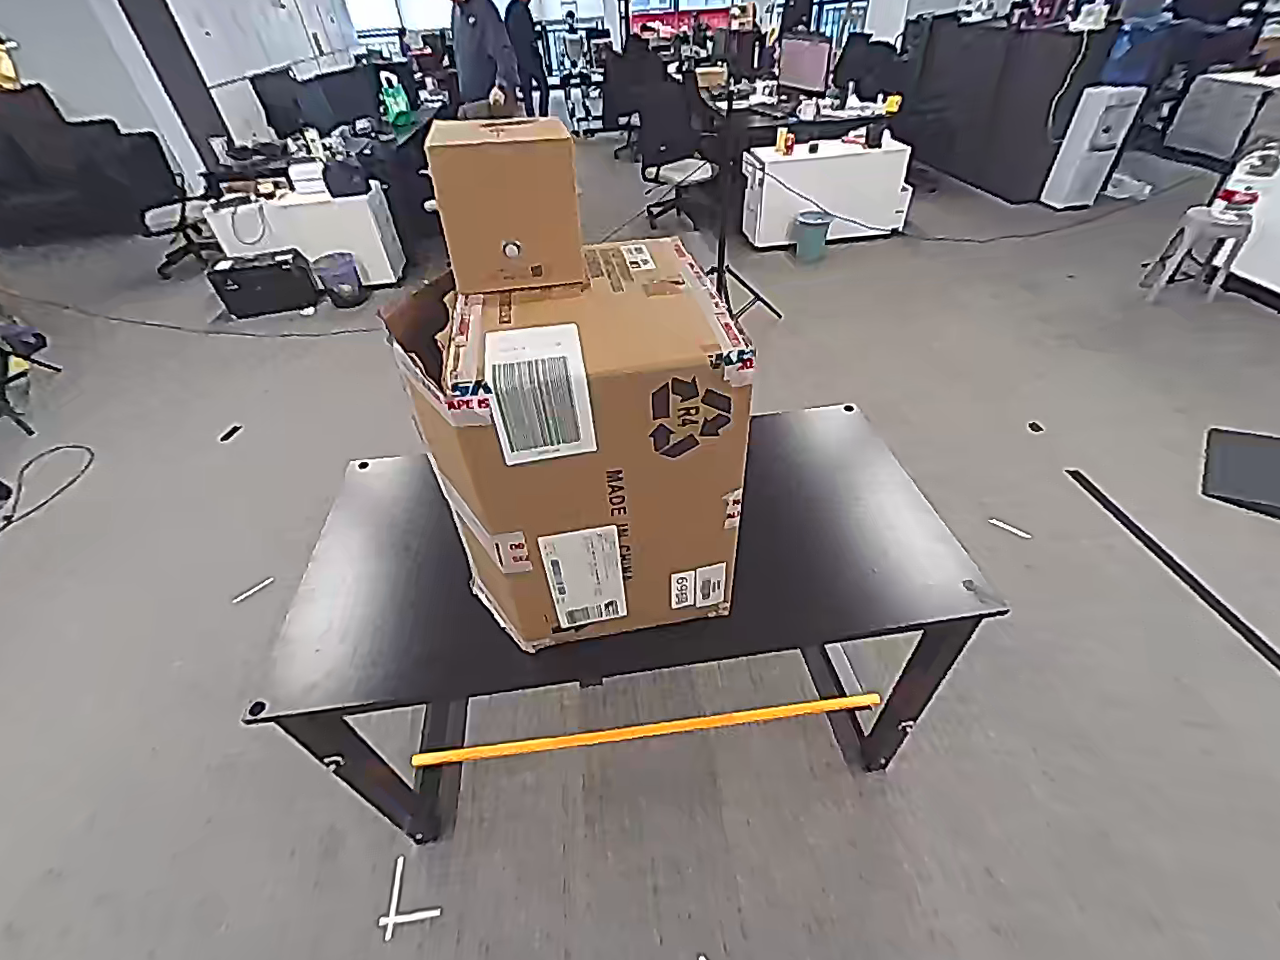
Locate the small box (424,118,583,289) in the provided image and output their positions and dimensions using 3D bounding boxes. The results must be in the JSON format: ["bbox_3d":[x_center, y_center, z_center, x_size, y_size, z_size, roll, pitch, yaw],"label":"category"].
[{"bbox_3d":[-0.172,-0.367,0.716,0.168,0.176,0.179,-9,41,-9],"label":"small box"}]
